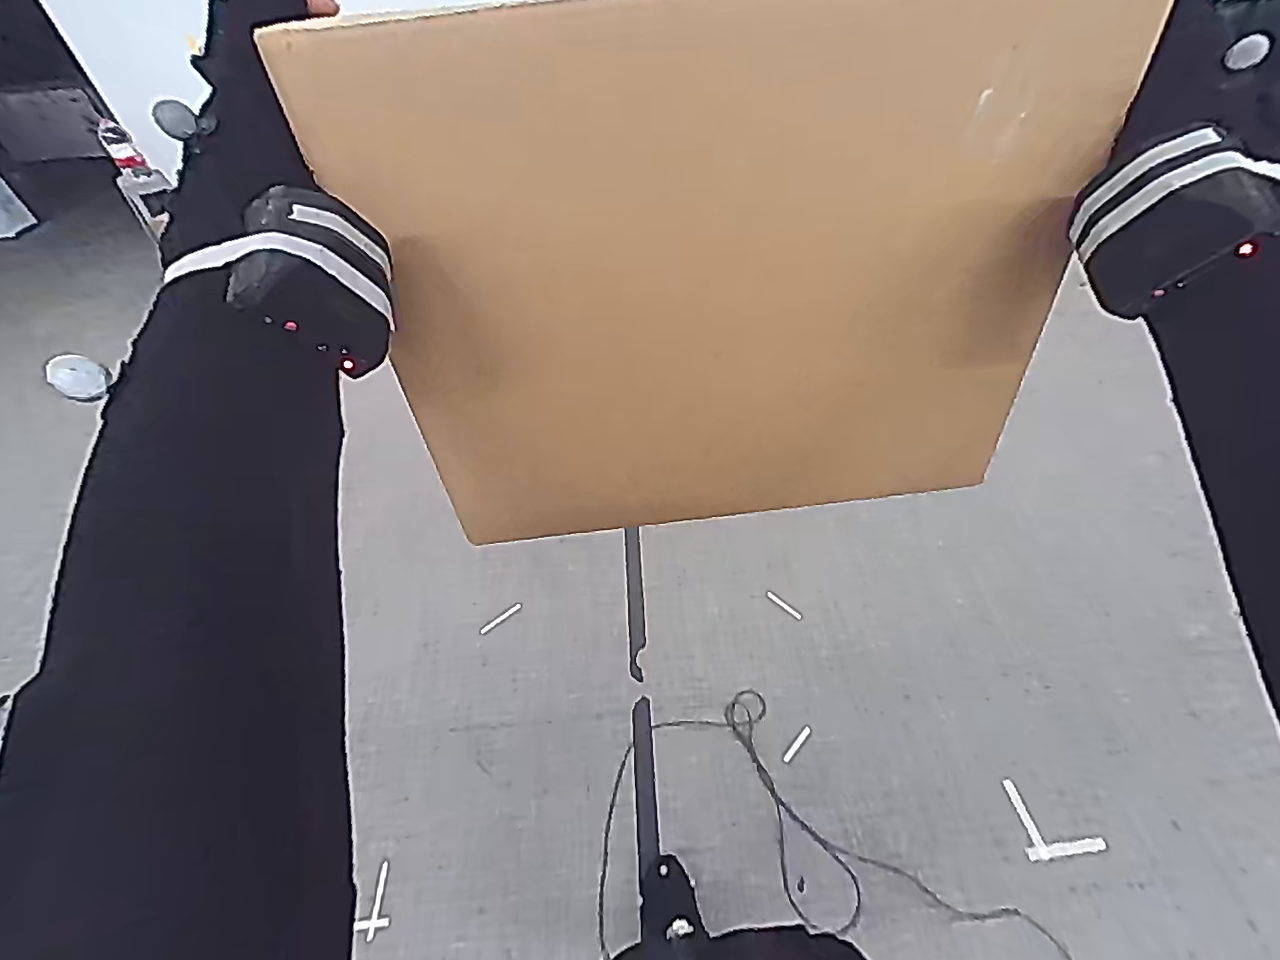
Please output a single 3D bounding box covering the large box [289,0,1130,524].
[{"bbox_3d":[0.037,-0.194,0.450,0.408,0.320,0.320,-7,40,-1],"label":"large box"}]
